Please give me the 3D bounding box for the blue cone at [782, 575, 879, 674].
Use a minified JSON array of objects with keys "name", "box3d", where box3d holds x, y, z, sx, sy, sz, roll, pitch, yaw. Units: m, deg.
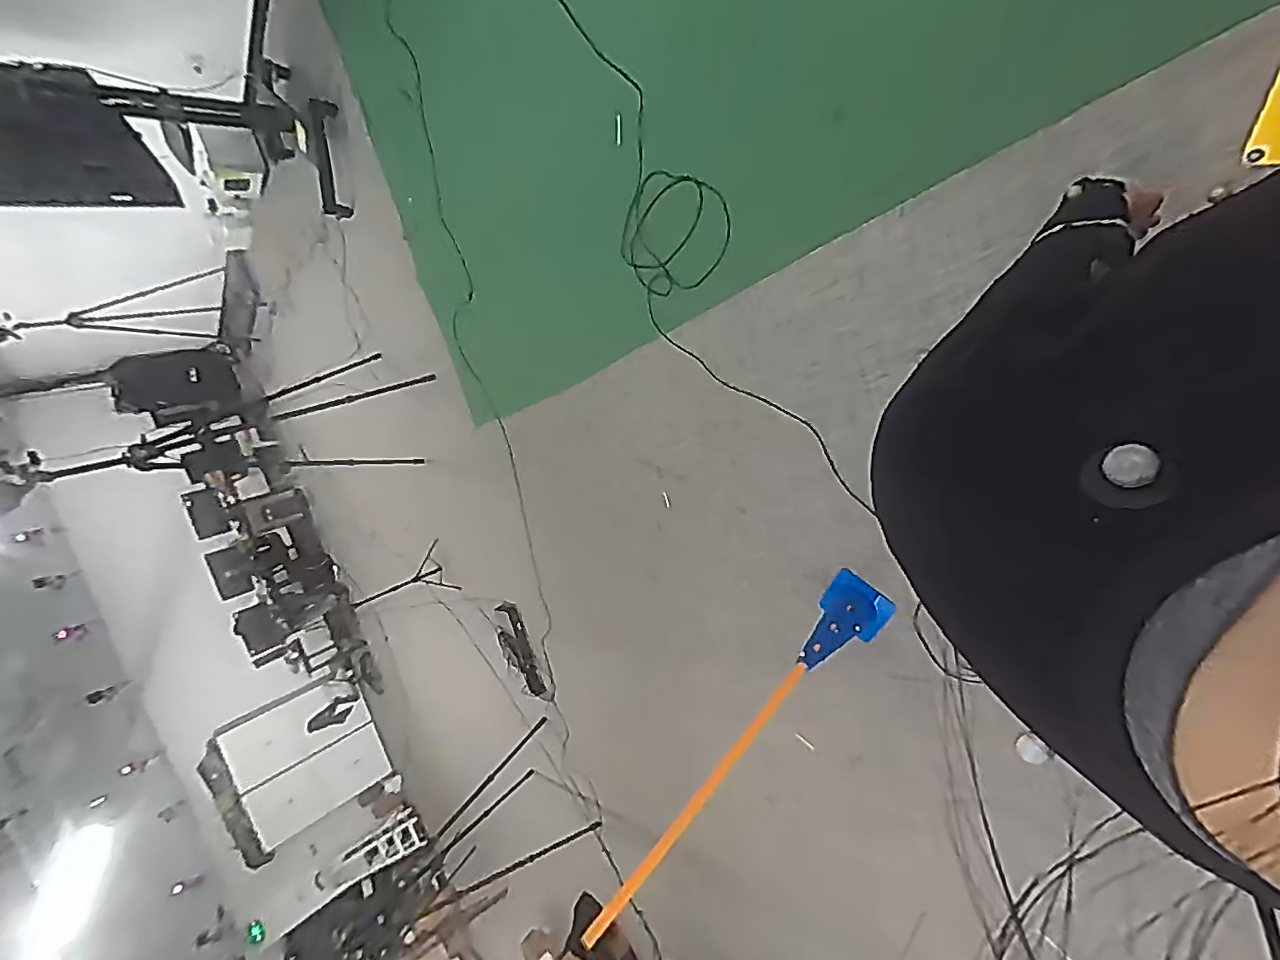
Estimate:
[{"name":"blue cone","box3d":[0.555,0.477,1.651,0.192,0.380,0.193,38,133,27]}]
